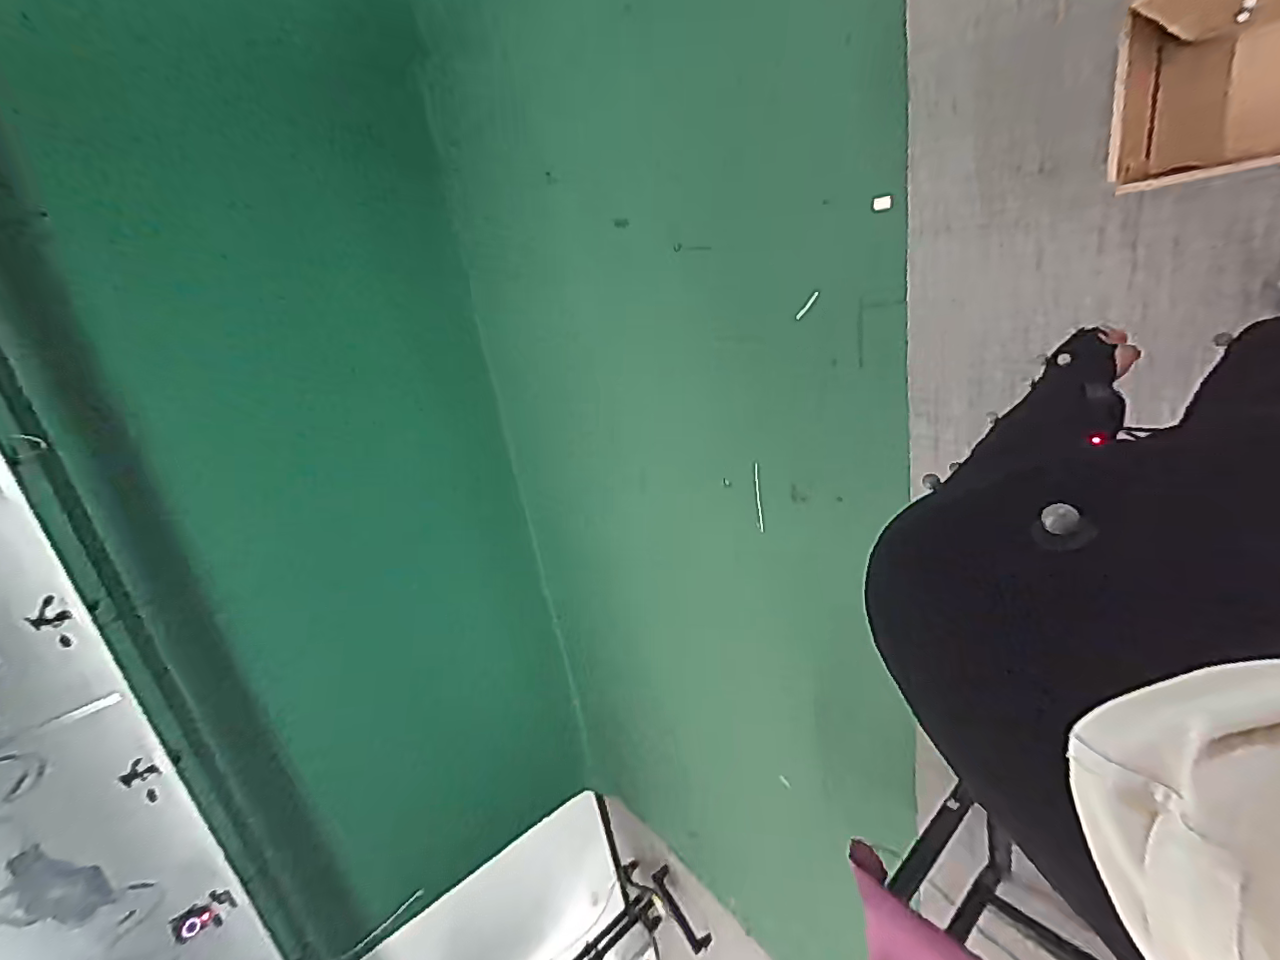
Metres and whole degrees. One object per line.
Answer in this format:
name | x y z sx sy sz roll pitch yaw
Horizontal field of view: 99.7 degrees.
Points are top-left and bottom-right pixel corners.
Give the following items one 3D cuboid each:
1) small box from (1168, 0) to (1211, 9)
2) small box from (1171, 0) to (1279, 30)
small box | 0.634 -0.617 0.536 0.168 0.176 0.179 20 124 49
small box | 0.760 -0.670 0.628 0.168 0.176 0.179 16 121 50
